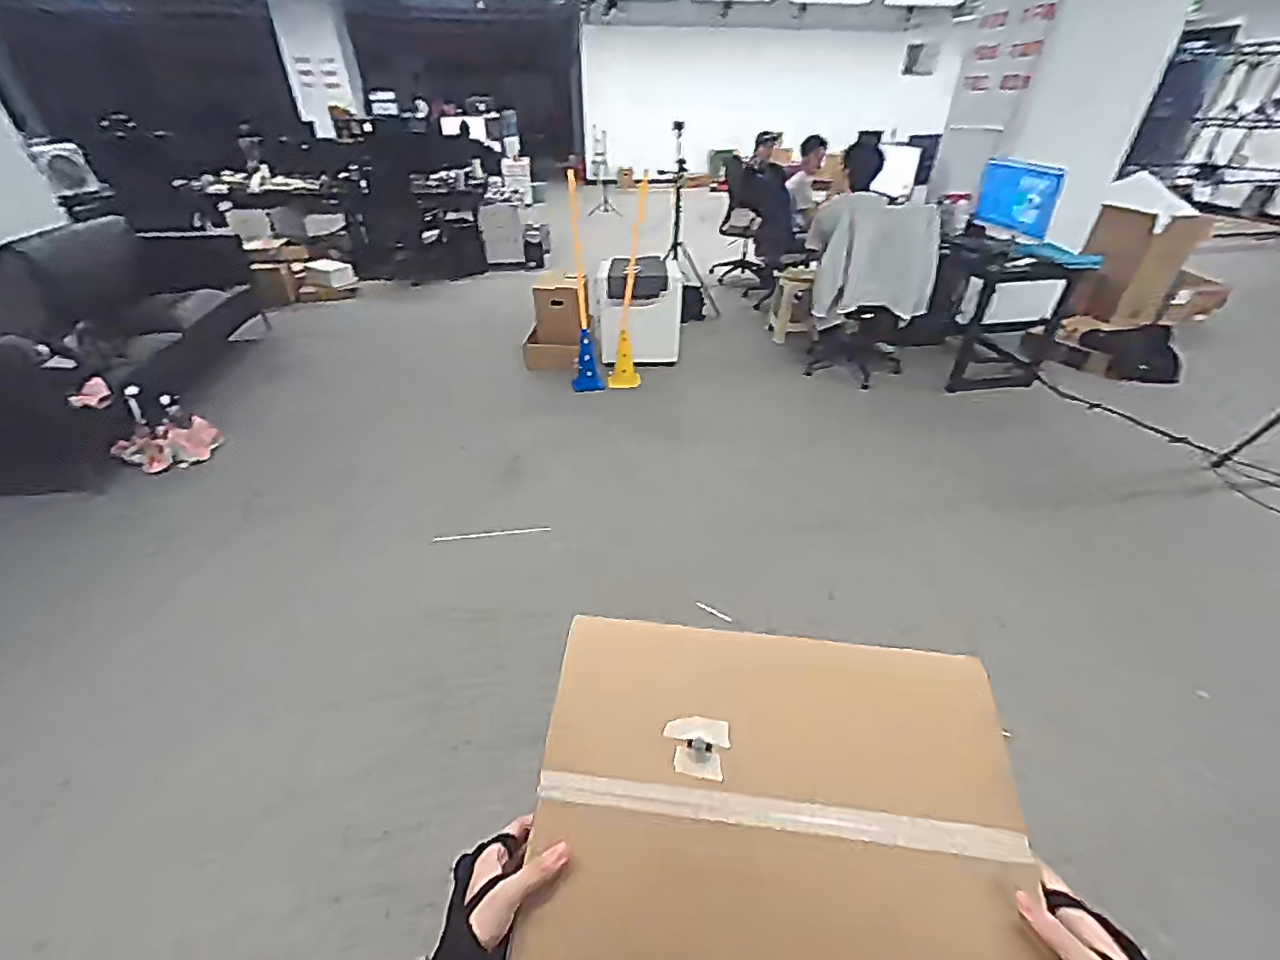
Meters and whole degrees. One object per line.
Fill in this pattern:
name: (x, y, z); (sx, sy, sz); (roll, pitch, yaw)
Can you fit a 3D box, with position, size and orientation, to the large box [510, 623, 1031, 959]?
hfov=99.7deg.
large box: (0.118, 0.373, 0.595); (0.408, 0.320, 0.320); (4, 54, 7)
